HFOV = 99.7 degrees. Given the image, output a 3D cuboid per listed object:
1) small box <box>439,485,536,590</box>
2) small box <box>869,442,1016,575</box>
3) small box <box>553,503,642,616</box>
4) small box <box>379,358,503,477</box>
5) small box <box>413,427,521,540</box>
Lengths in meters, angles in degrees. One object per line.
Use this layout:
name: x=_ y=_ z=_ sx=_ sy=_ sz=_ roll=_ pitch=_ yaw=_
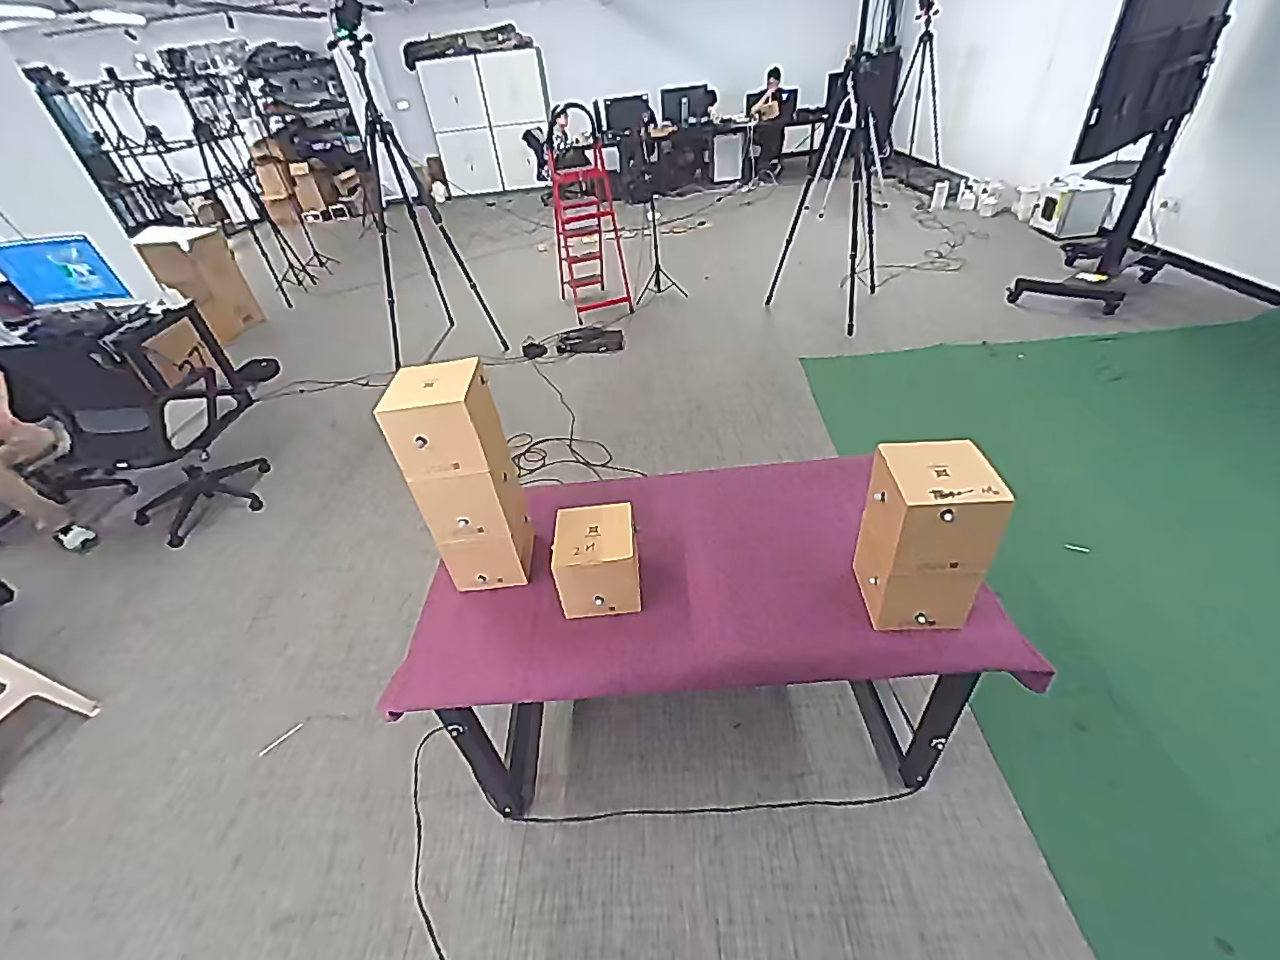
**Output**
small box: x=-0.348 y=0.135 z=1.274 sx=0.168 sy=0.176 sz=0.179 roll=-7 pitch=39 yaw=1
small box: x=0.524 y=0.051 z=0.969 sx=0.168 sy=0.176 sz=0.179 roll=-3 pitch=37 yaw=8
small box: x=-0.086 y=0.174 z=1.183 sx=0.168 sy=0.176 sz=0.179 roll=-6 pitch=38 yaw=3
small box: x=-0.381 y=-0.119 z=1.073 sx=0.168 sy=0.176 sz=0.179 roll=-8 pitch=38 yaw=1
small box: x=-0.364 y=0.007 z=1.174 sx=0.168 sy=0.176 sz=0.179 roll=-7 pitch=39 yaw=1
